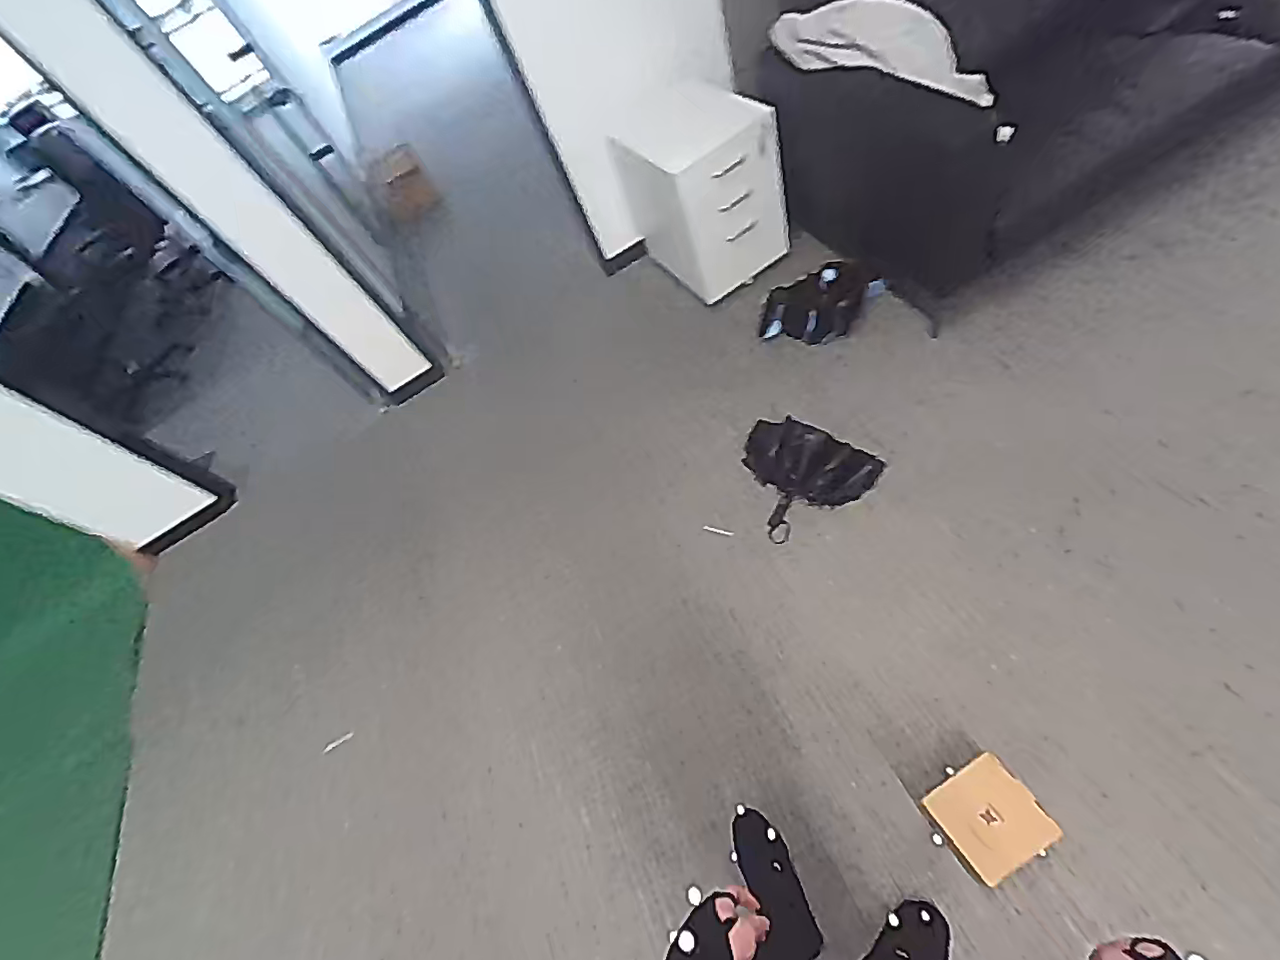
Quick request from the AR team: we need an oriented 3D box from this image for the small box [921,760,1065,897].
[{"bbox_3d":[0.700,0.704,1.099,0.179,0.176,0.168,-36,51,-2],"label":"small box"}]
